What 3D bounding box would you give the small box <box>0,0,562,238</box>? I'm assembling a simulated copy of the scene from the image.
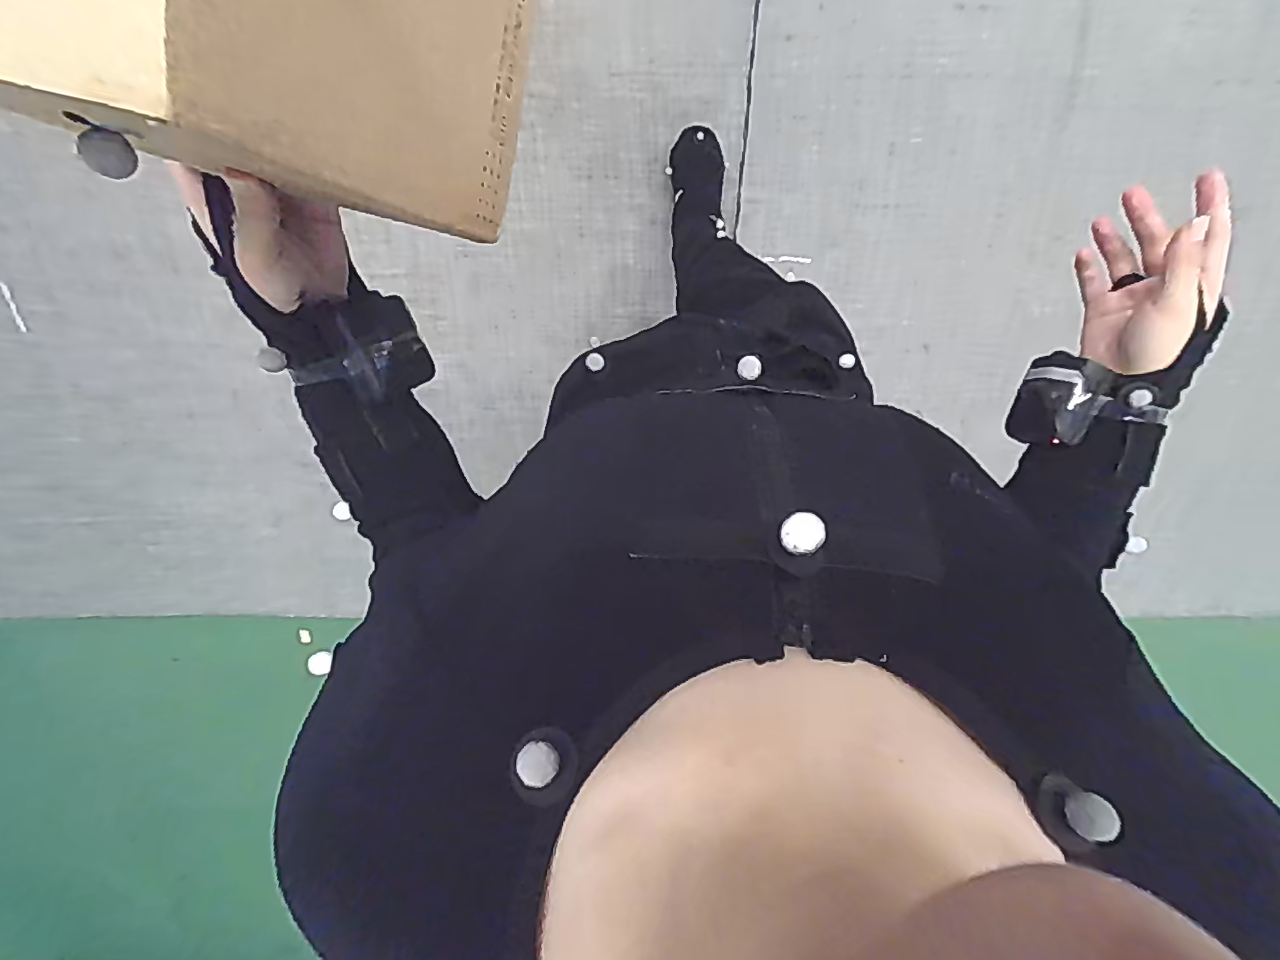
[{"bbox_3d":[-0.140,-0.195,0.187,0.179,0.176,0.168,15,108,7],"label":"small box"}]
